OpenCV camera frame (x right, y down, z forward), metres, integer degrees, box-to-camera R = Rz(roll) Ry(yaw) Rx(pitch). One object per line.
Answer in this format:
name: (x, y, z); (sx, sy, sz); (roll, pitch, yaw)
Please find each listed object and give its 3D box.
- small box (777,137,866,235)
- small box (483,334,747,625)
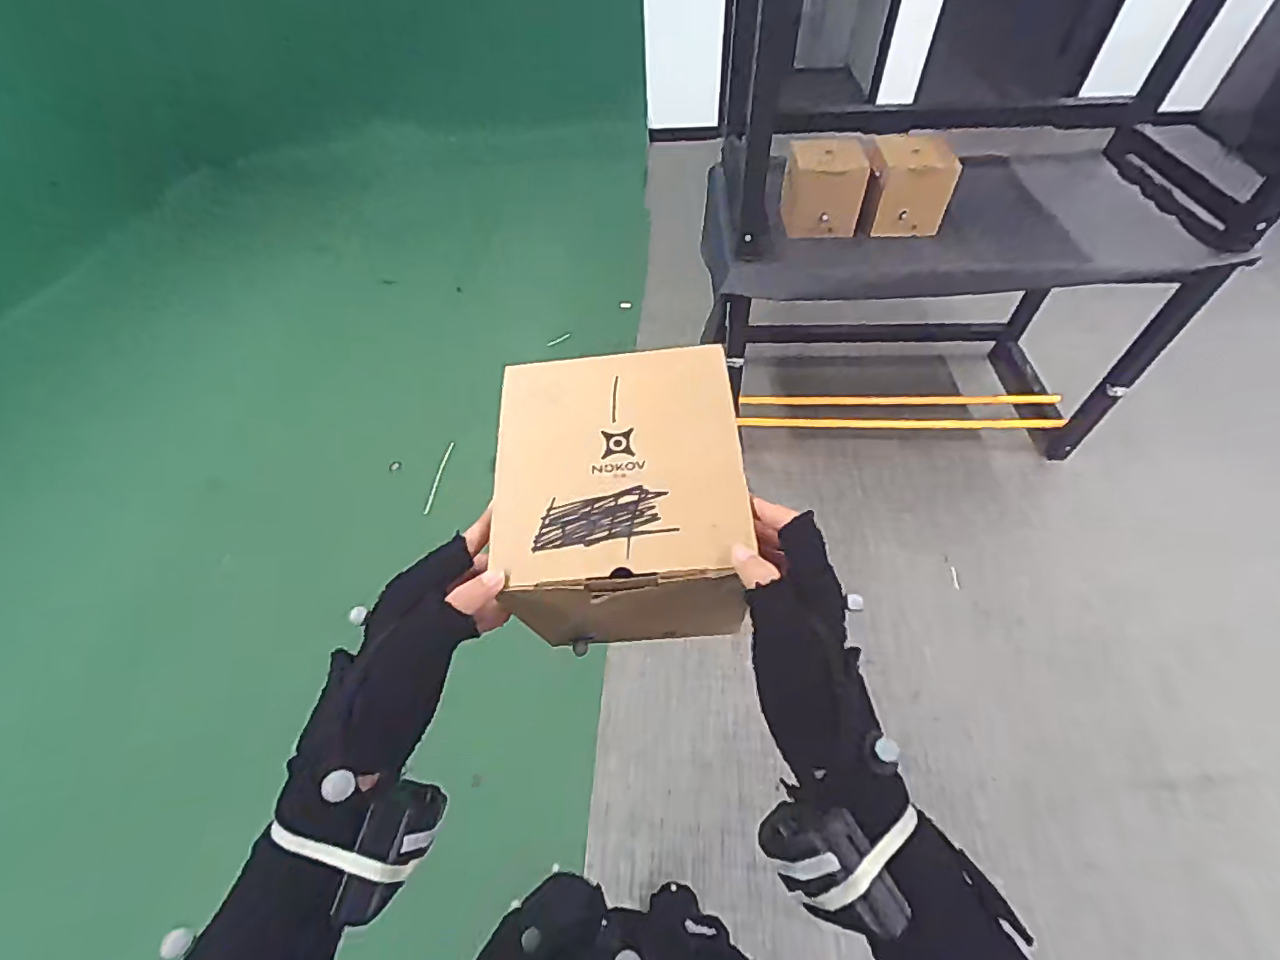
small box: (0.450, -0.744, 1.369); (0.168, 0.176, 0.179); (0, 52, 4)
small box: (-0.010, 0.012, 0.432); (0.168, 0.176, 0.179); (-4, 60, 3)
